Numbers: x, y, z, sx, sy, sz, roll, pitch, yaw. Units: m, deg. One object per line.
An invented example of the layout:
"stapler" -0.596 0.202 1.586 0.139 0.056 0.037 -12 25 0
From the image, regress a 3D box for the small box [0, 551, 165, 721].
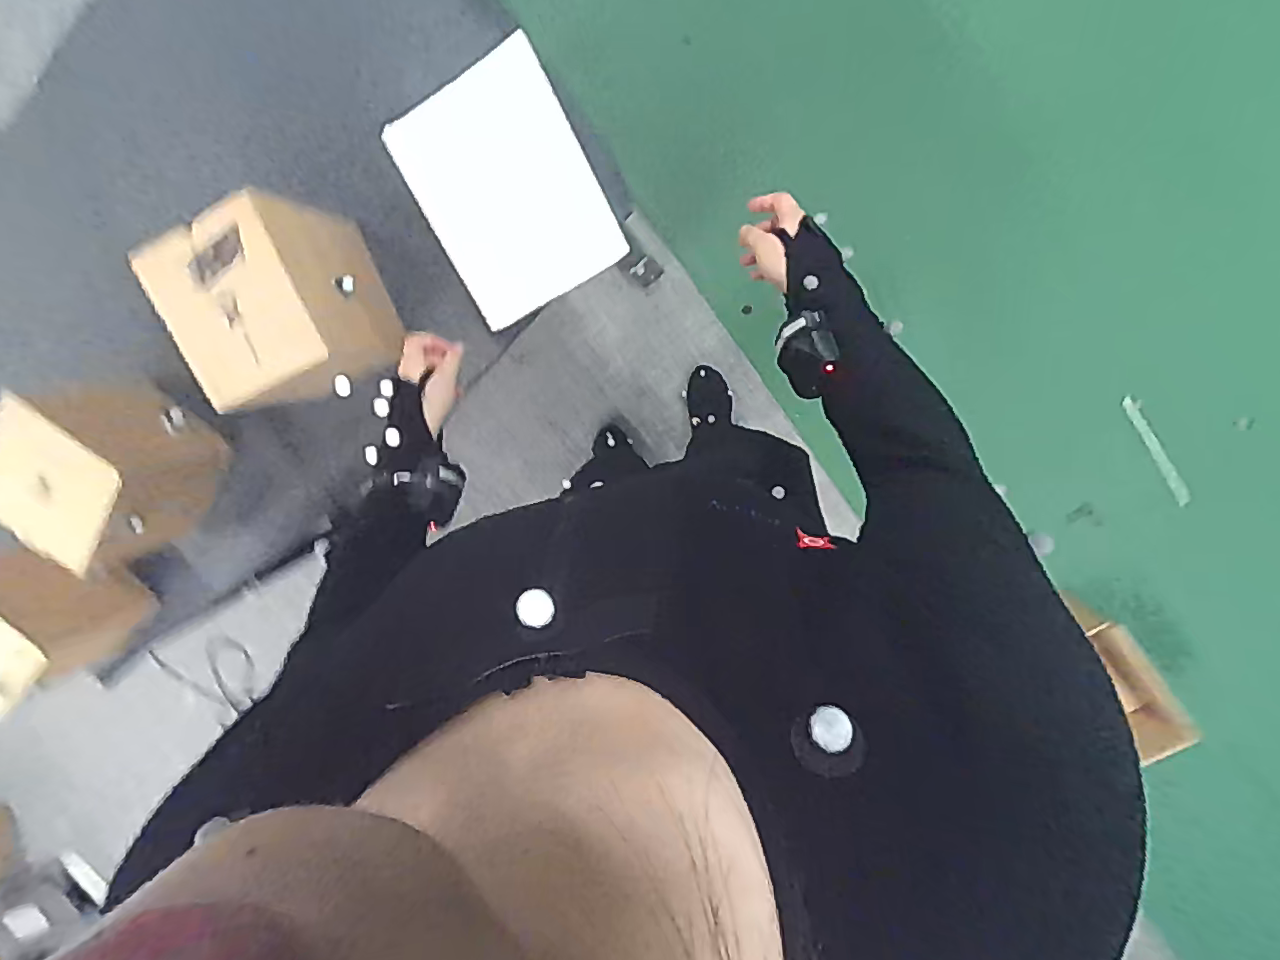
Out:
"small box" -0.910 0.220 0.834 0.168 0.176 0.179 -42 96 15

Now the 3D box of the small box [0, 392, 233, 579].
"small box" -0.721 -0.002 0.751 0.168 0.176 0.179 35 106 -3

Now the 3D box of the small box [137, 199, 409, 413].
"small box" -0.421 -0.199 0.651 0.168 0.176 0.179 -21 101 14
